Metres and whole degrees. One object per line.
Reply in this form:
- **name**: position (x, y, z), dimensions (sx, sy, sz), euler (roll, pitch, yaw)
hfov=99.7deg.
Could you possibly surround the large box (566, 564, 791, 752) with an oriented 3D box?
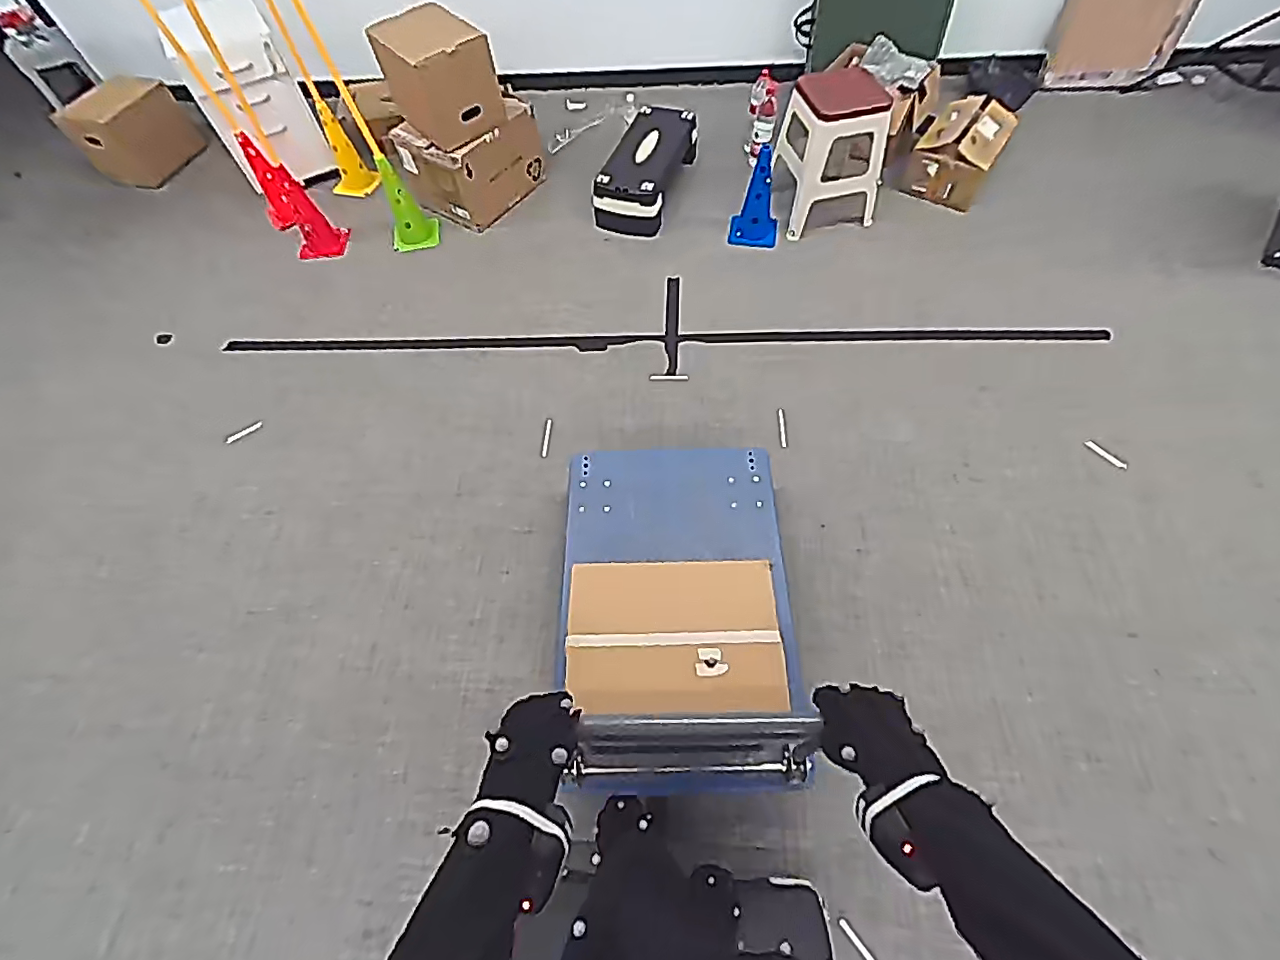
- **large box**: position (0.064, 0.384, 1.143), dimensions (0.408, 0.320, 0.320), euler (-1, 60, 1)
